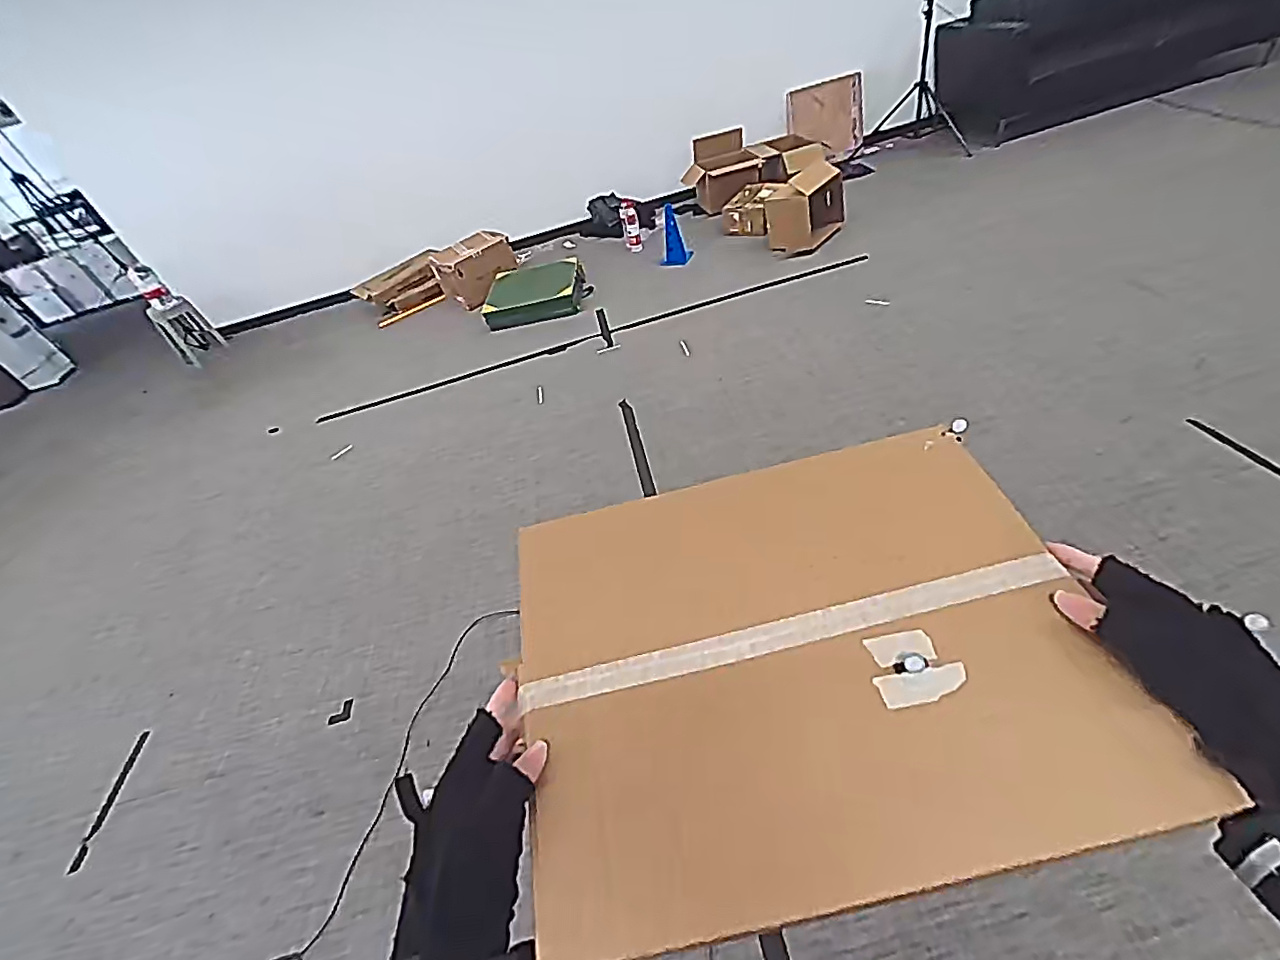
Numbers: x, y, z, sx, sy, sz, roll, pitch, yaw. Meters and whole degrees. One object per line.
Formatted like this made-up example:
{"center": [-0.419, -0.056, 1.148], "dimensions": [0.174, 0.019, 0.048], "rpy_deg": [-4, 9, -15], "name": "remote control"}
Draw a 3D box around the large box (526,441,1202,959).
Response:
{"center": [0.134, 0.217, 0.523], "dimensions": [0.408, 0.320, 0.320], "rpy_deg": [-14, 50, 0], "name": "large box"}
